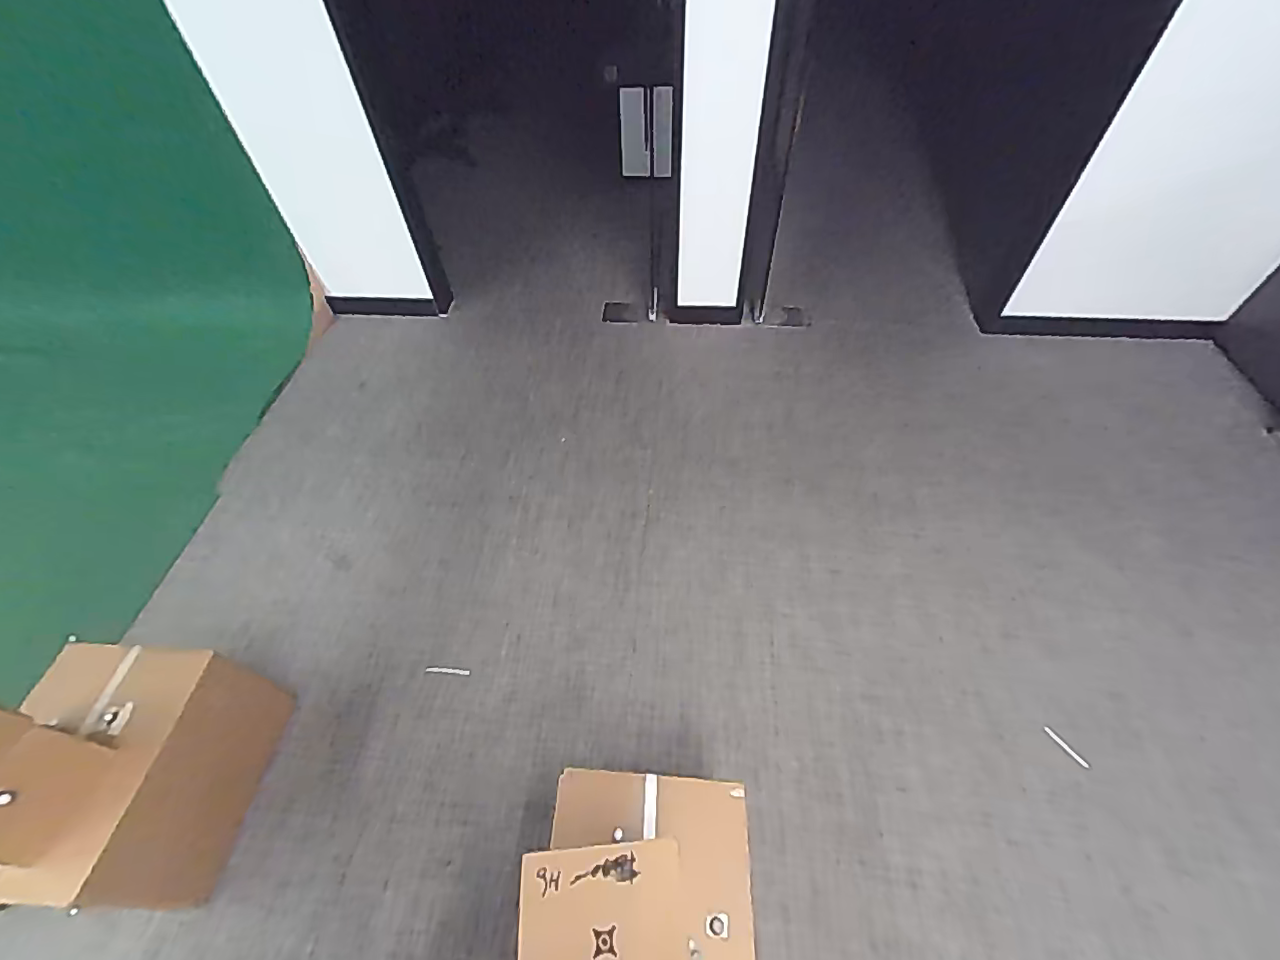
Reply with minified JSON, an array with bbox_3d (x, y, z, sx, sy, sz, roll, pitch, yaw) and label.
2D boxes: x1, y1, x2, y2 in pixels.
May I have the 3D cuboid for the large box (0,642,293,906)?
[{"bbox_3d":[-0.988,0.575,1.062,0.320,0.320,0.408,2,51,3],"label":"large box"}]

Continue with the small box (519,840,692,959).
[{"bbox_3d":[-0.029,0.498,0.576,0.168,0.176,0.179,-5,53,-1],"label":"small box"}]

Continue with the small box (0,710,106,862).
[{"bbox_3d":[-1.004,0.465,0.840,0.168,0.176,0.179,11,53,11],"label":"small box"}]

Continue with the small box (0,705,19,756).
[{"bbox_3d":[-1.013,0.357,0.718,0.168,0.176,0.179,13,55,13],"label":"small box"}]
